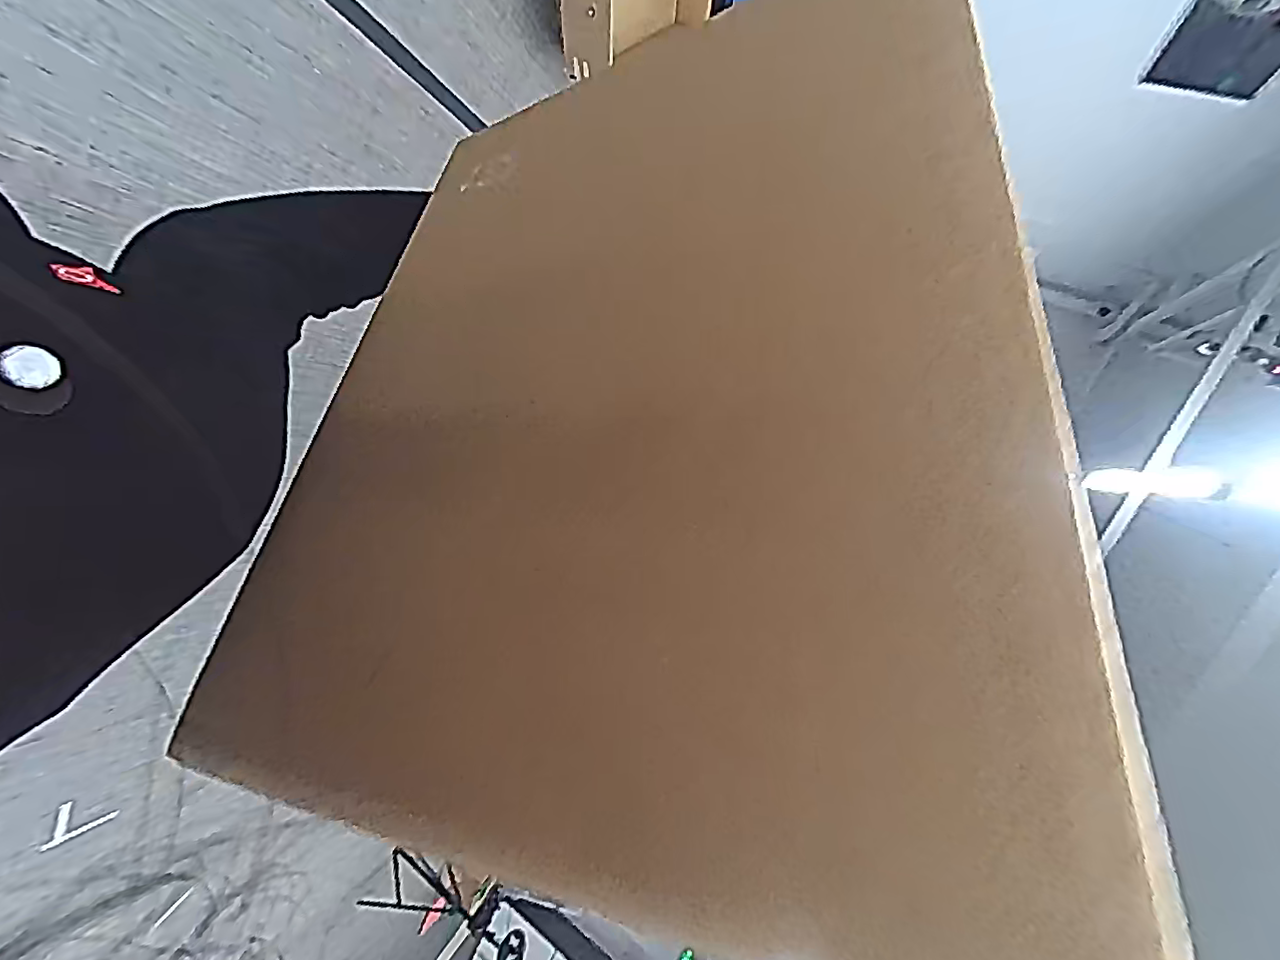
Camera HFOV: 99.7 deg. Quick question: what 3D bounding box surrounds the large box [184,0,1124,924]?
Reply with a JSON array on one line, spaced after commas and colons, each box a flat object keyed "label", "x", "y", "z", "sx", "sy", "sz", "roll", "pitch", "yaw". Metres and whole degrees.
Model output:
[{"label": "large box", "x": 0.041, "y": -0.016, "z": 0.356, "sx": 0.320, "sy": 0.320, "sz": 0.408, "roll": 48, "pitch": 44, "yaw": -52}]
